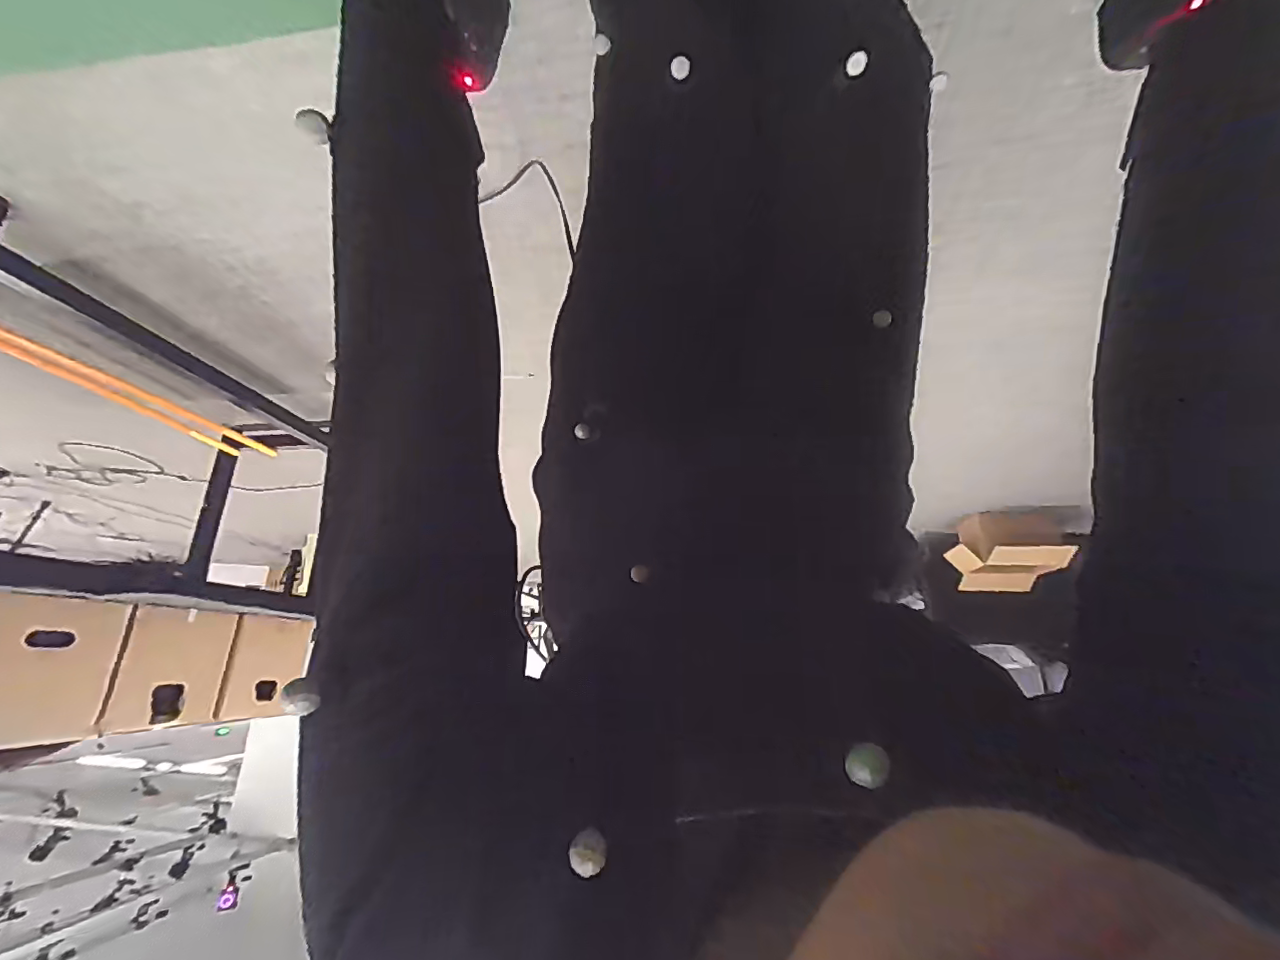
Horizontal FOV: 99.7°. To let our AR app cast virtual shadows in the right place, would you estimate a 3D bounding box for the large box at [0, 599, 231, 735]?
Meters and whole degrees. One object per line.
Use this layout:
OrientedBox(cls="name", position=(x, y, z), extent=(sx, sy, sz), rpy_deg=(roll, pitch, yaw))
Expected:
OrientedBox(cls="large box", position=(-1.438, 0.499, 1.460), extent=(0.408, 0.320, 0.320), rpy_deg=(-3, 161, 9))
